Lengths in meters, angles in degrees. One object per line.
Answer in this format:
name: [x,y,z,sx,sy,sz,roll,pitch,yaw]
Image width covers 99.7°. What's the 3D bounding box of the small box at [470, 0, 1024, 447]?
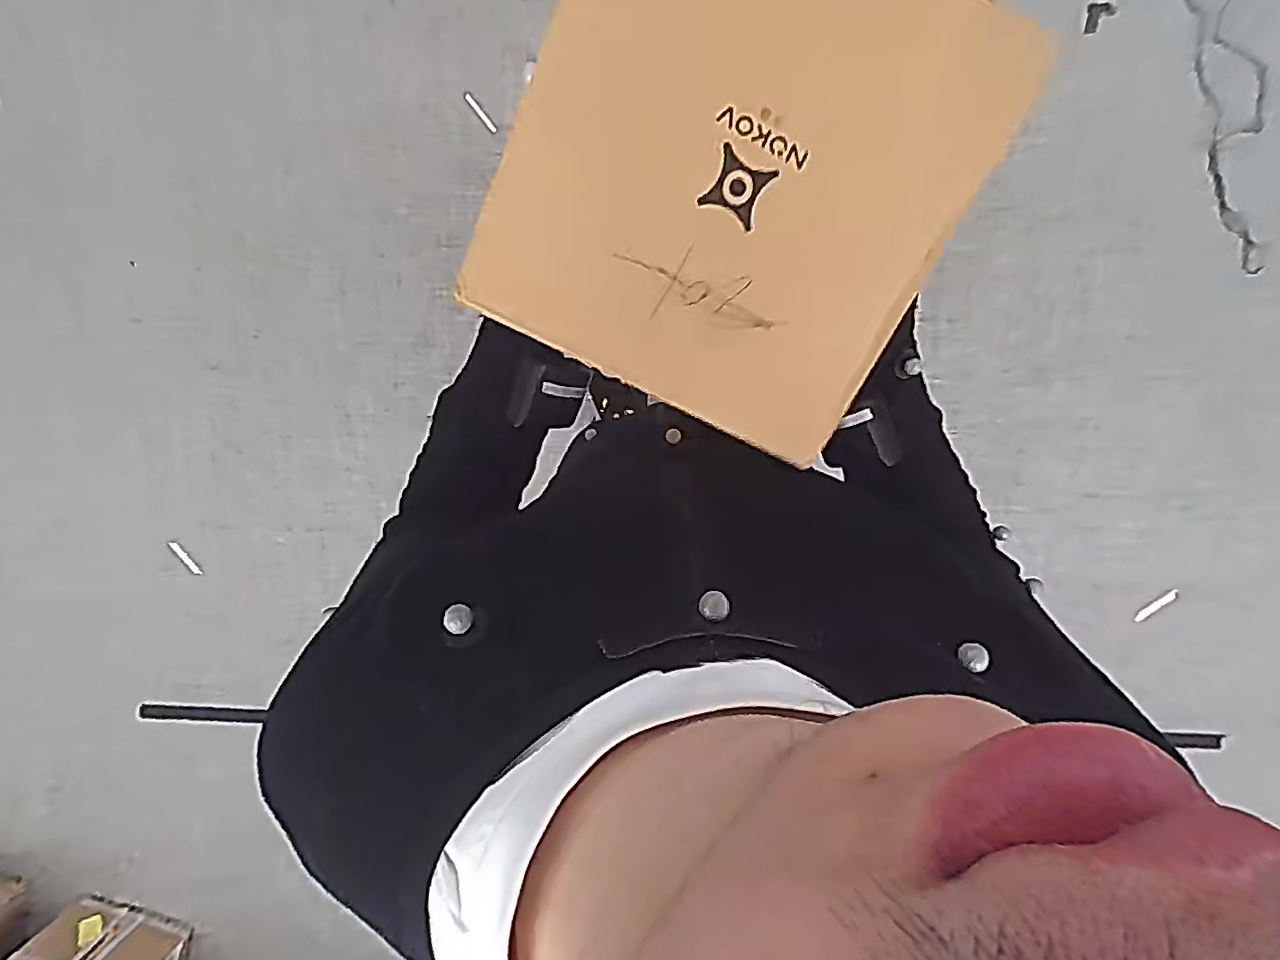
small box: [0.035,-0.144,0.288,0.168,0.176,0.179,23,106,-7]
